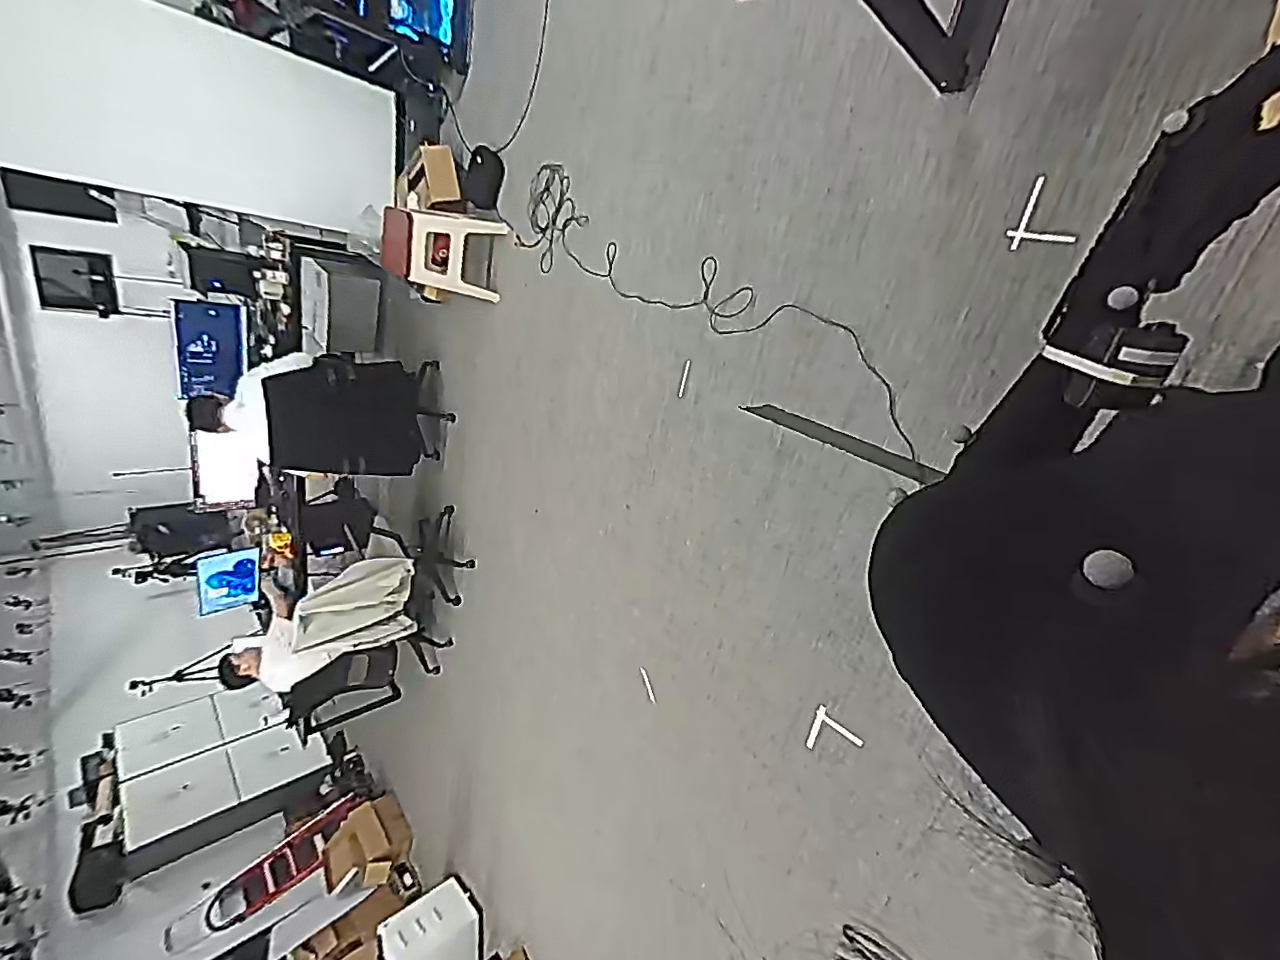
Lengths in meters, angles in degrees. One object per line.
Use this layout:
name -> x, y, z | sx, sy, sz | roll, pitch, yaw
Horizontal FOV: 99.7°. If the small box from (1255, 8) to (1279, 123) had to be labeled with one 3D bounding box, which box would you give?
small box -> 0.514, -0.323, 0.302 | 0.179, 0.176, 0.168 | 8, 115, 34
